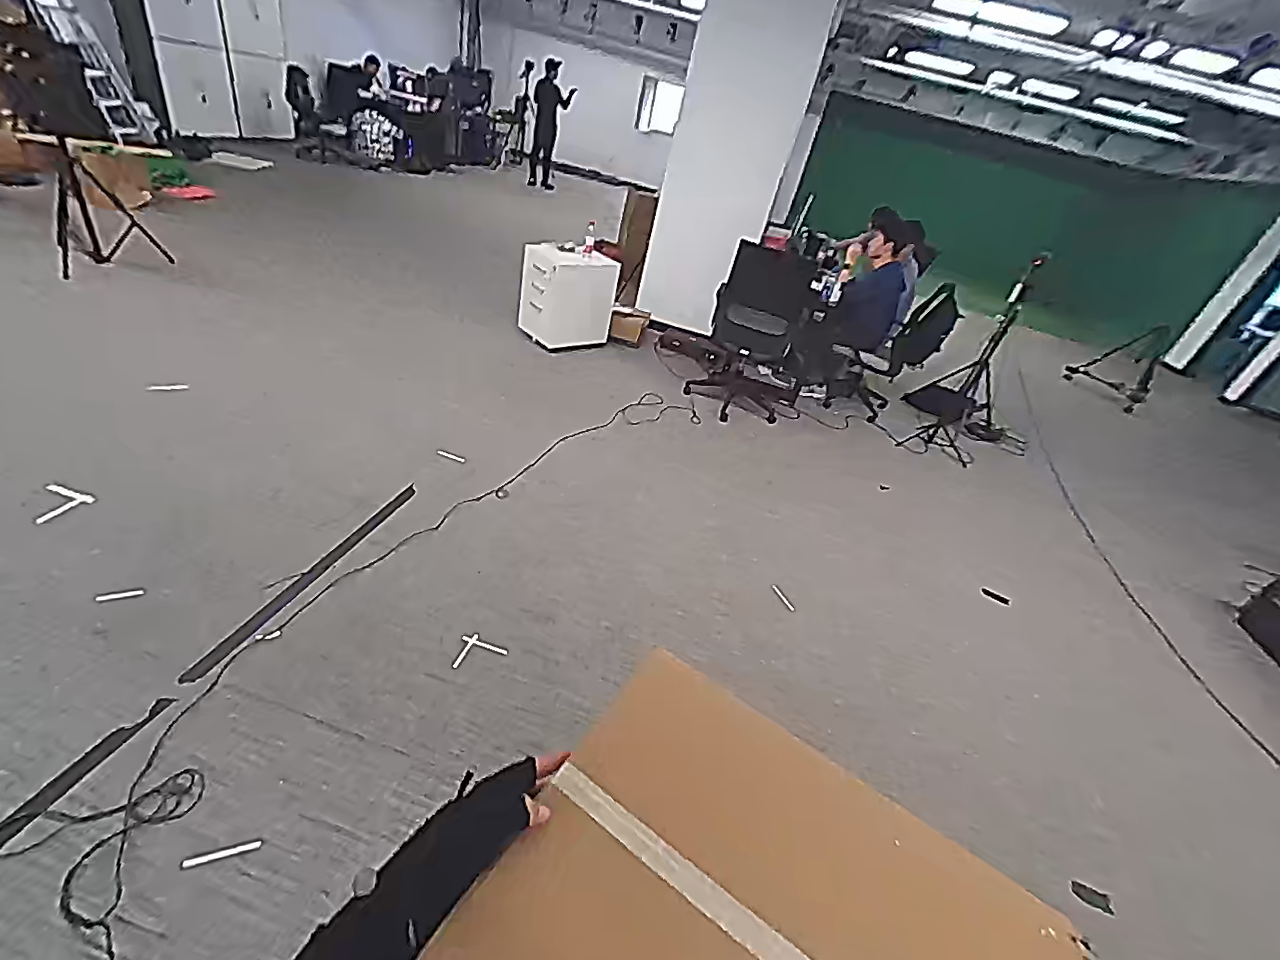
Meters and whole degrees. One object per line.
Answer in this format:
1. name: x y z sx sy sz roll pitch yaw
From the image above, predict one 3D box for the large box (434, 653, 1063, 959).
1. large box: 0.079 0.454 0.507 0.408 0.320 0.320 29 46 21
